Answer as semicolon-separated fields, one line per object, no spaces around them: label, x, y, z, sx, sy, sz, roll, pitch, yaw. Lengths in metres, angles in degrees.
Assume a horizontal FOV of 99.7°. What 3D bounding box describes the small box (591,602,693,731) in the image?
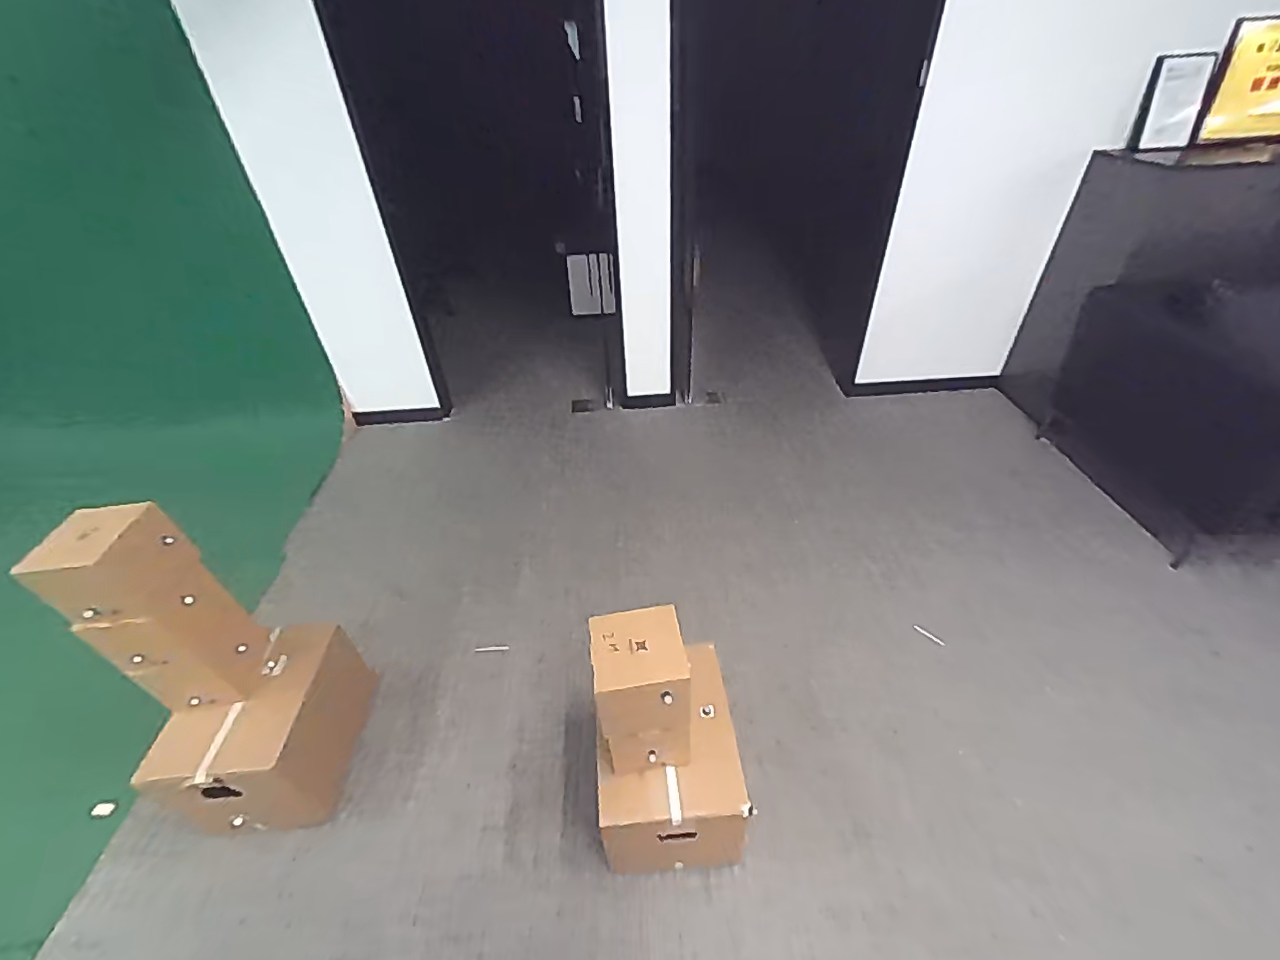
small box;0.003;0.368;1.066;0.179;0.176;0.168;-8;39;-3

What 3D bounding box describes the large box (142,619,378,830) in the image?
large box;-0.958;0.640;1.438;0.320;0.320;0.408;-5;38;-1

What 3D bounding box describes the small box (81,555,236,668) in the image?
small box;-1.067;0.297;1.222;0.168;0.176;0.179;-7;40;0

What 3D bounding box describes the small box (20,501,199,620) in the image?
small box;-1.077;0.167;1.123;0.168;0.176;0.179;-6;41;2

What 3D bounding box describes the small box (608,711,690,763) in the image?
small box;0.015;0.493;1.174;0.168;0.176;0.179;-8;40;-3
